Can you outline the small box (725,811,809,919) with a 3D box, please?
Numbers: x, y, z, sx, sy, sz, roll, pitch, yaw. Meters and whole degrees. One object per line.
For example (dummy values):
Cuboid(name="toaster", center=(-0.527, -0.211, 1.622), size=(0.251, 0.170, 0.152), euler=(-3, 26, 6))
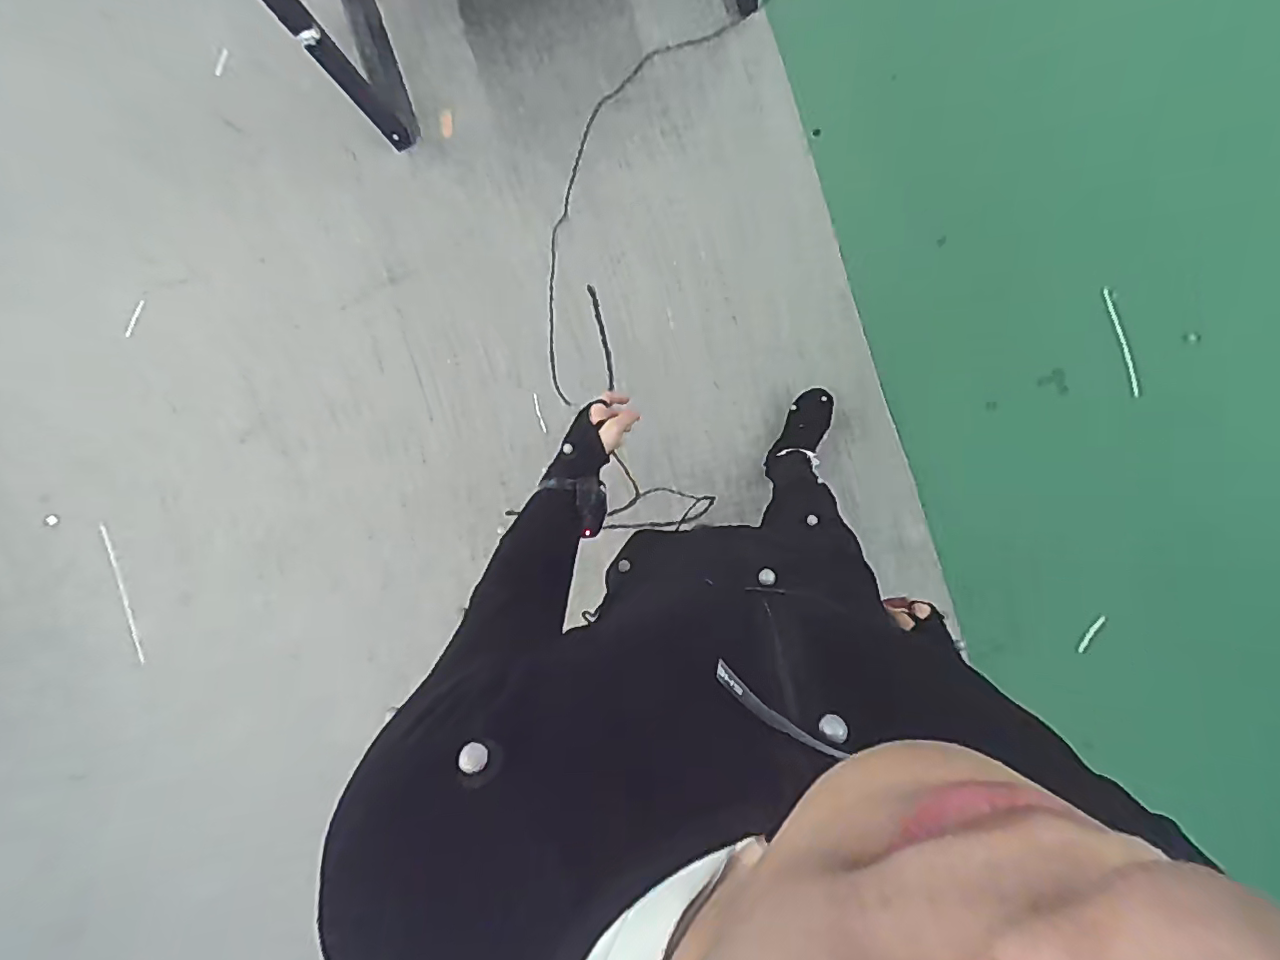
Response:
Cuboid(name="small box", center=(0.346, 1.058, 1.502), size=(0.179, 0.176, 0.168), euler=(-17, 88, 5))
